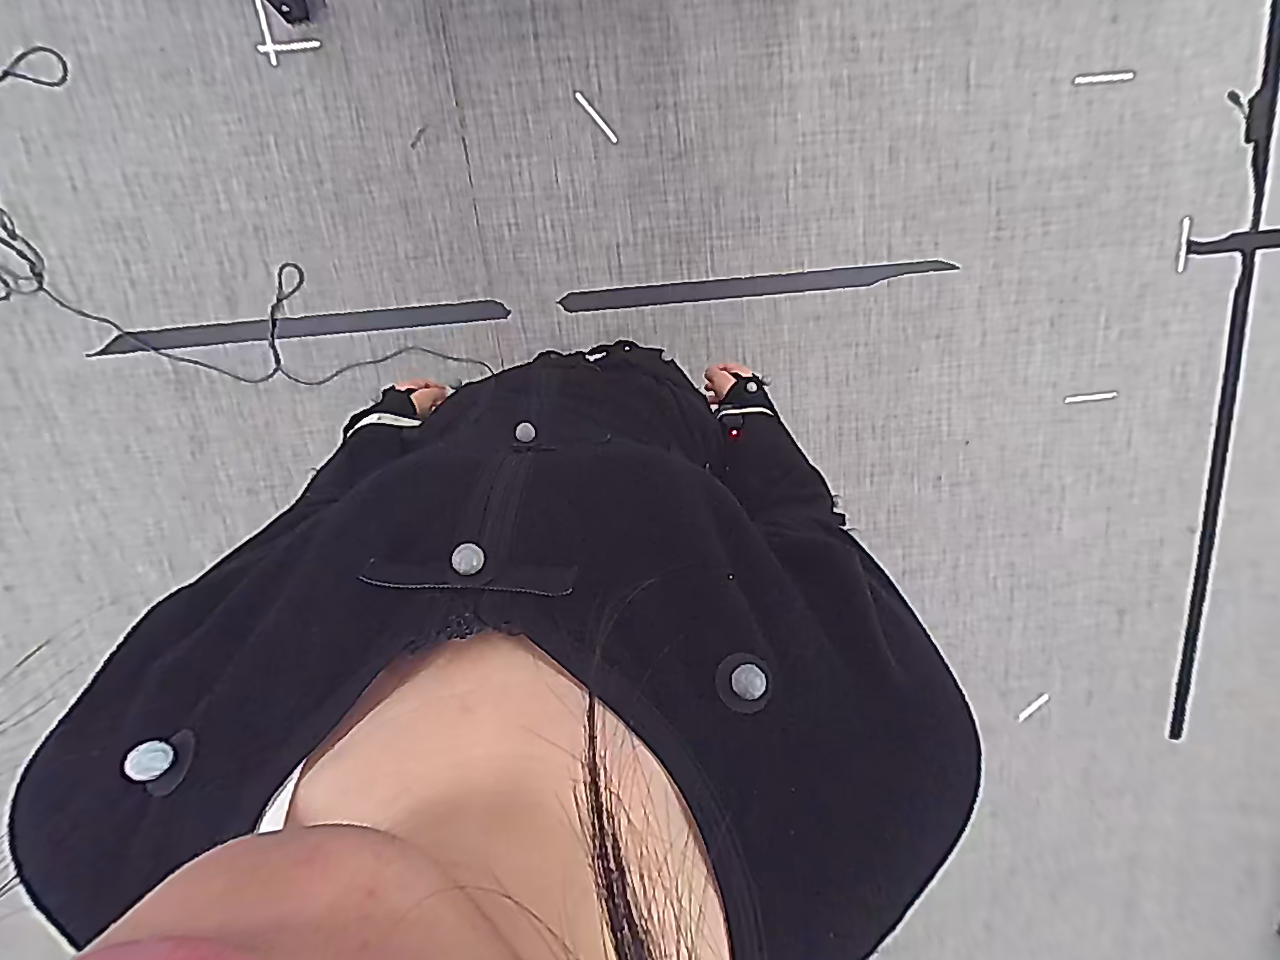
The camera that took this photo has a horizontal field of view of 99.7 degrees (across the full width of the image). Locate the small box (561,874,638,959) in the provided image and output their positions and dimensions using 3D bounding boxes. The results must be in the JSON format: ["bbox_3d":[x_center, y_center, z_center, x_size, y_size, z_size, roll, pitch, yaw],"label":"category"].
[{"bbox_3d":[-0.101,1.154,1.386,0.179,0.176,0.168,-7,102,-2],"label":"small box"}]
